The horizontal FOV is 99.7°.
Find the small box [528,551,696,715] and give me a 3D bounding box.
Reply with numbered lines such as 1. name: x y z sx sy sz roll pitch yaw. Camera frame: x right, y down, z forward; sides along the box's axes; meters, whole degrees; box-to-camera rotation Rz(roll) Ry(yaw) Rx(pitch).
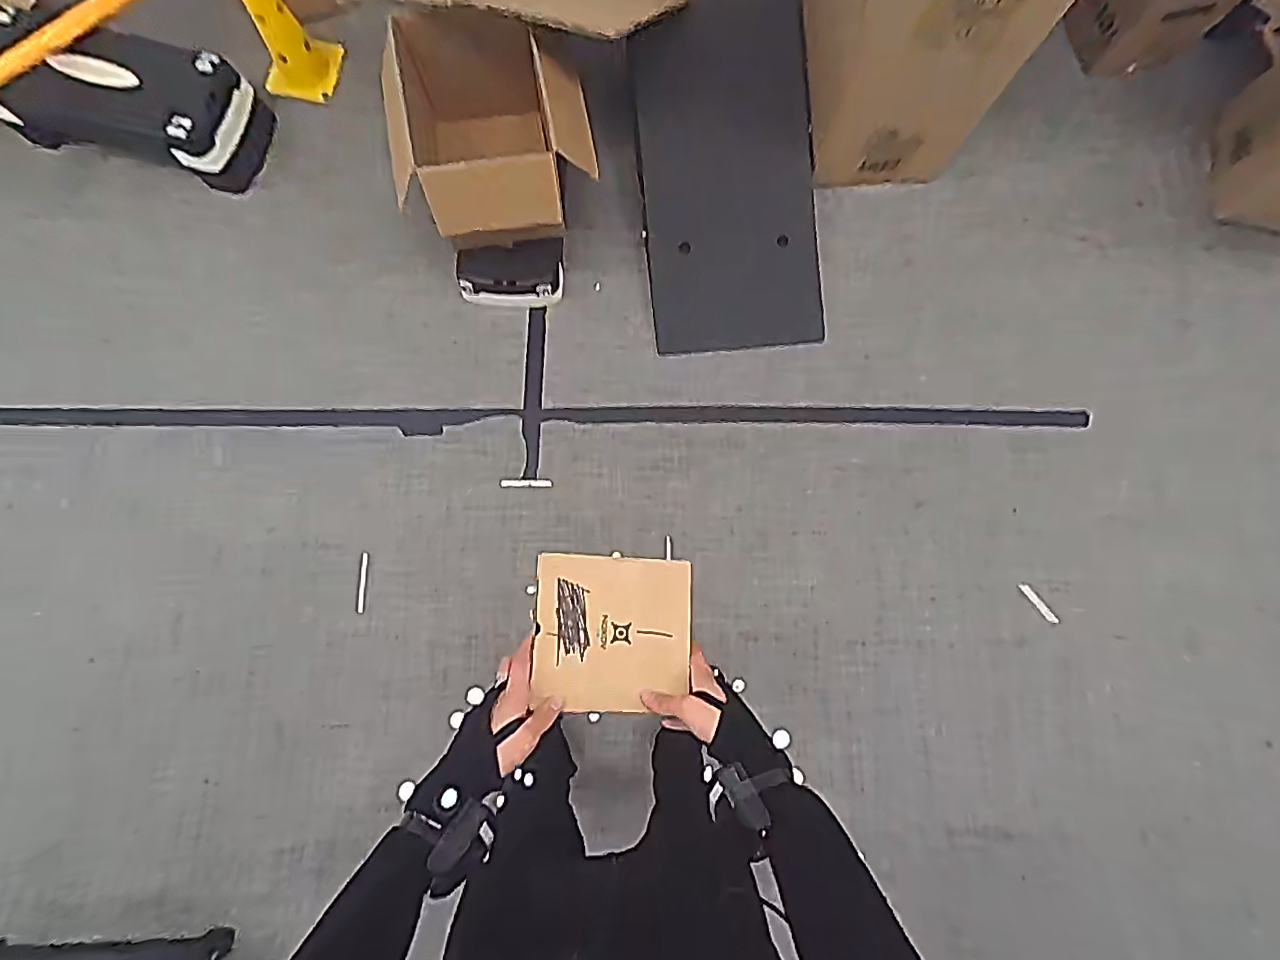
1. small box: -0.038 0.185 0.659 0.179 0.176 0.168 5 74 -9
